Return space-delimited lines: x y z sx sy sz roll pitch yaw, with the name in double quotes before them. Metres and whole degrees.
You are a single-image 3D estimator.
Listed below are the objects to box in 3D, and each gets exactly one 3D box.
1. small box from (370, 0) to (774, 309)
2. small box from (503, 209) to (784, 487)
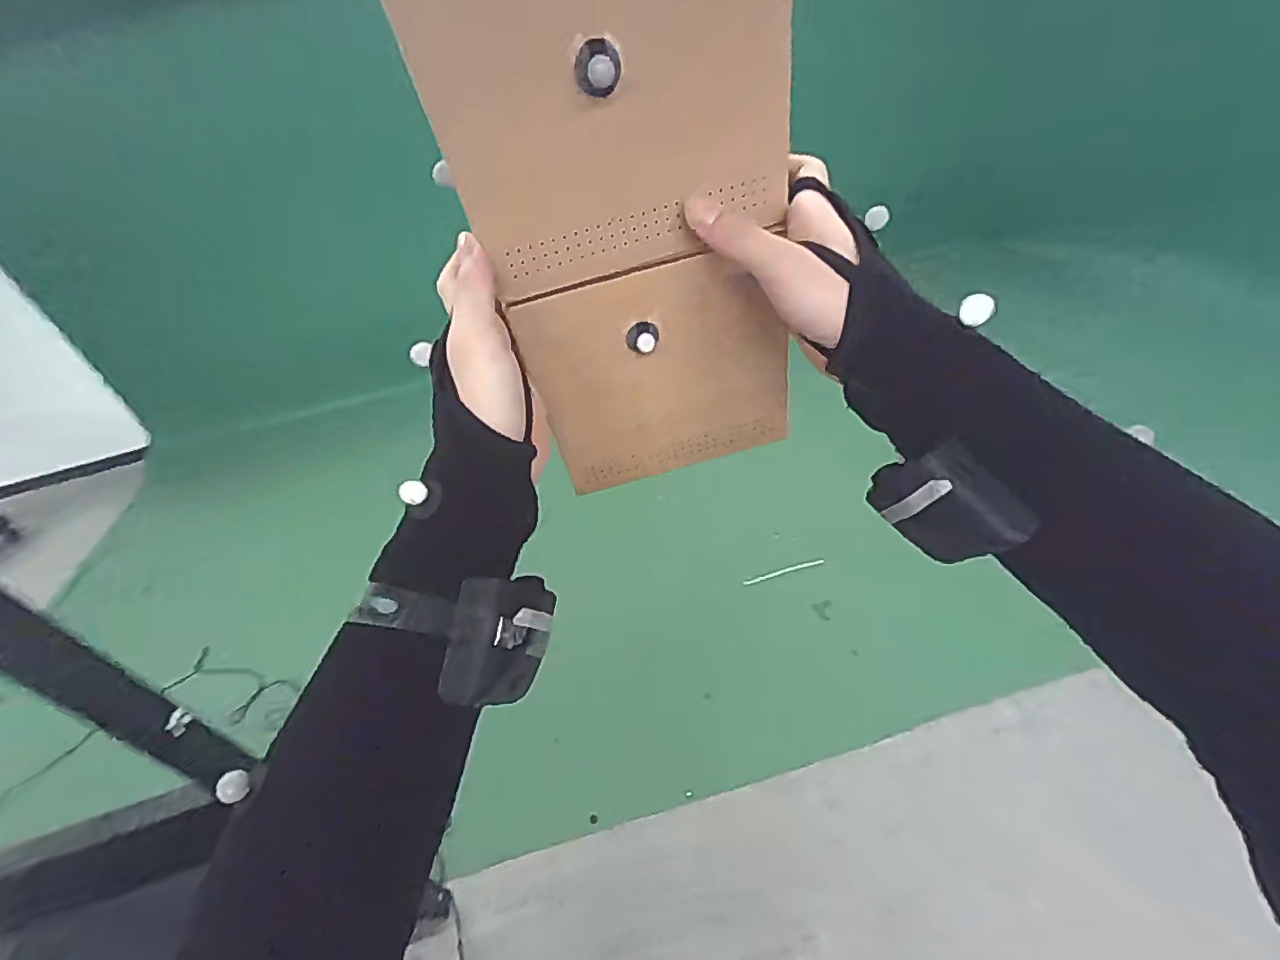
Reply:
"small box" -0.031 -0.229 0.314 0.179 0.176 0.168 -19 45 -1
"small box" 0.005 -0.117 0.430 0.179 0.176 0.168 -15 46 1
